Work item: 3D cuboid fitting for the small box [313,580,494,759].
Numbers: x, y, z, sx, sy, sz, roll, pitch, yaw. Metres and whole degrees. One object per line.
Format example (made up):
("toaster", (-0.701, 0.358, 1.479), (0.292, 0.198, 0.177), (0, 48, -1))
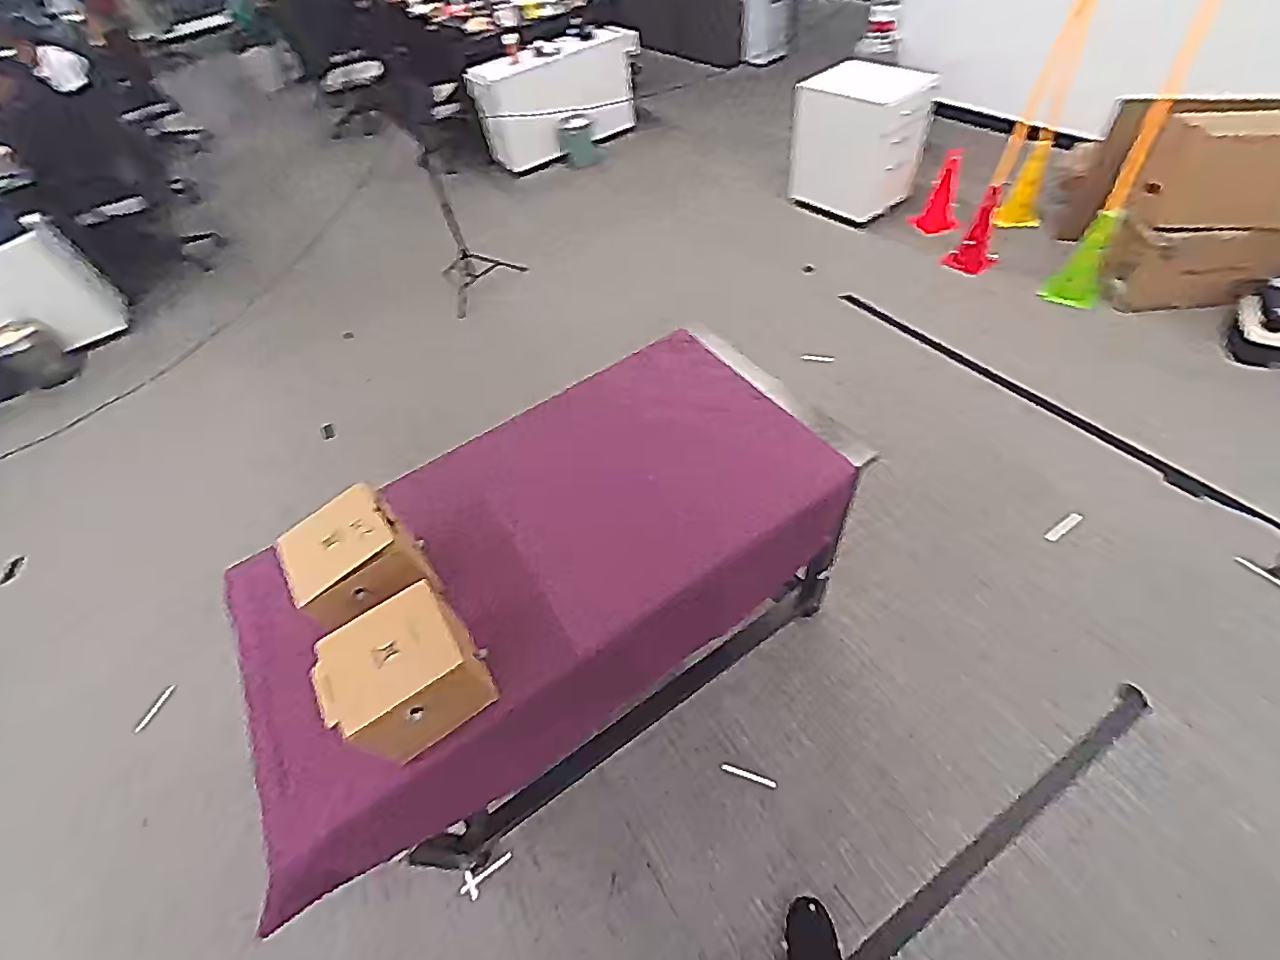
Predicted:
("small box", (-0.355, 0.294, 0.830), (0.179, 0.176, 0.168), (-31, 55, -16))

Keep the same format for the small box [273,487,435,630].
("small box", (-0.501, 0.153, 0.961), (0.179, 0.176, 0.168), (-33, 55, -17))
